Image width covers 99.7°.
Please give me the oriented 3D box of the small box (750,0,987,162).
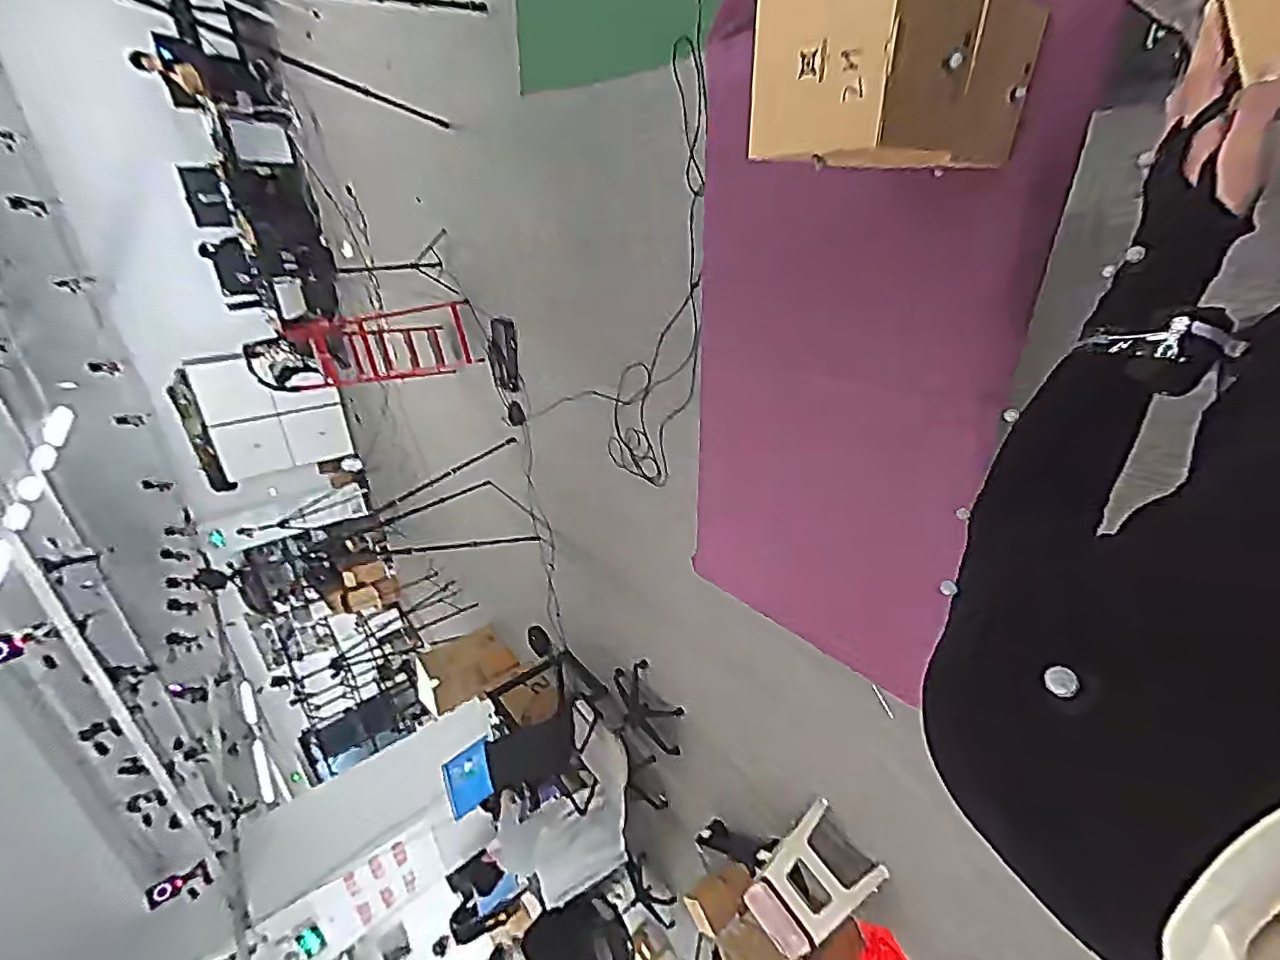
[{"bbox_3d":[0.253,-0.466,0.621,0.179,0.176,0.168,29,130,44],"label":"small box"}]
